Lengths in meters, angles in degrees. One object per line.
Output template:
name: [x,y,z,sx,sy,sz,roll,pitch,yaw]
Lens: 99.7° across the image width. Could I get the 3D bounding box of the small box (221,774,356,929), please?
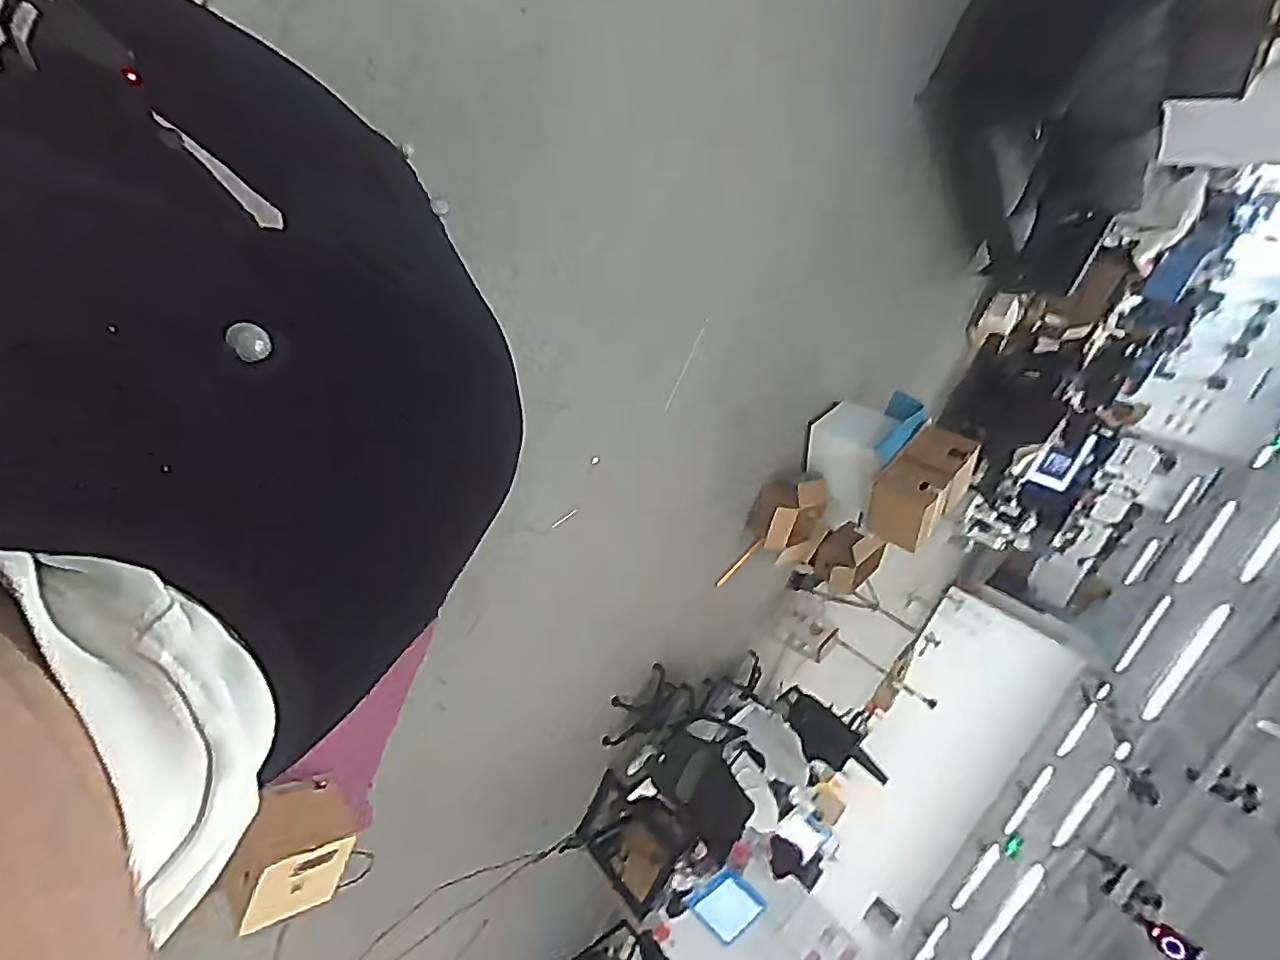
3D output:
small box: [-0.709,0.724,1.085,0.168,0.176,0.179,14,106,-51]
